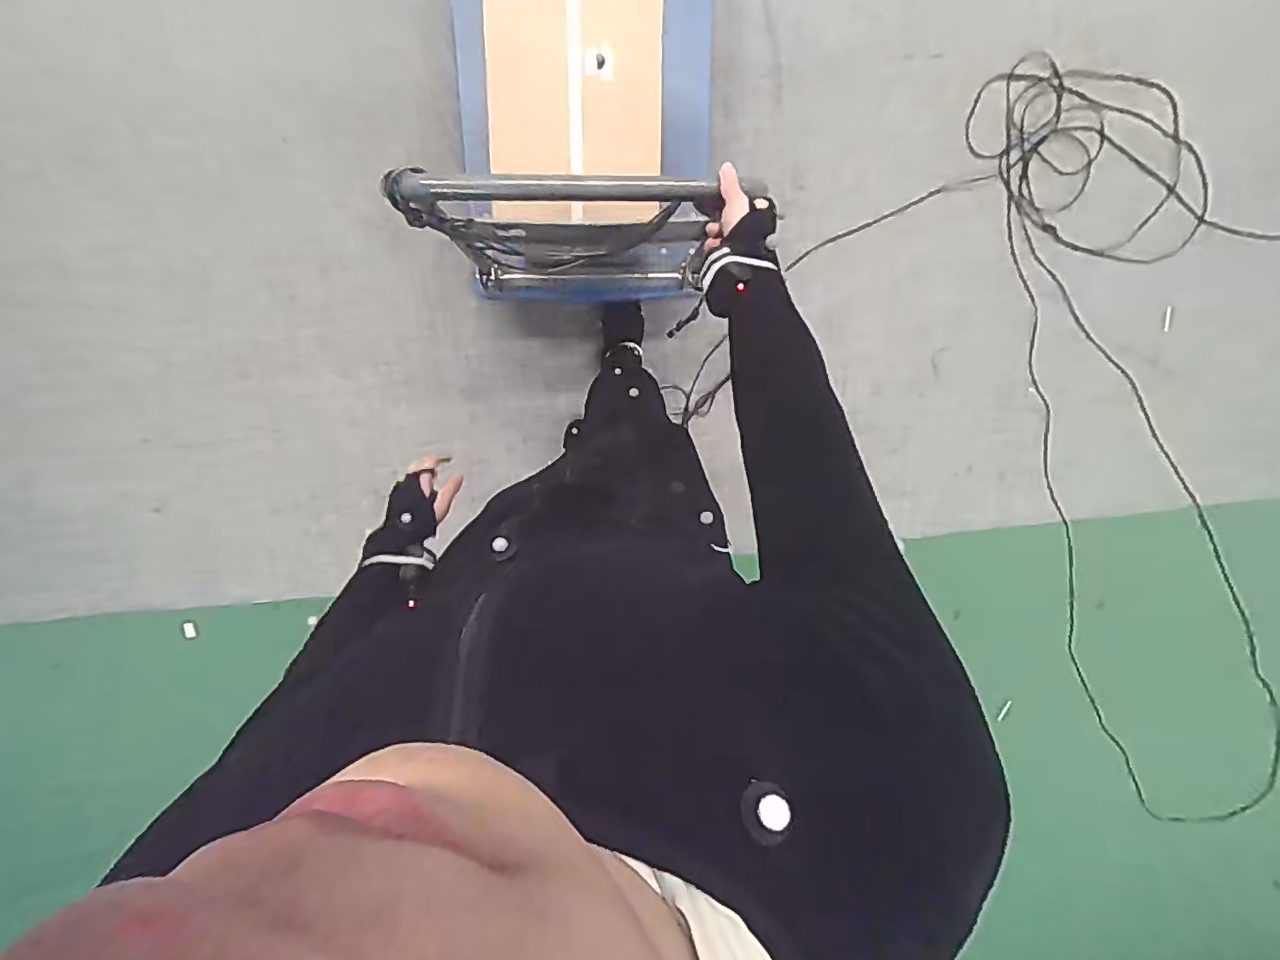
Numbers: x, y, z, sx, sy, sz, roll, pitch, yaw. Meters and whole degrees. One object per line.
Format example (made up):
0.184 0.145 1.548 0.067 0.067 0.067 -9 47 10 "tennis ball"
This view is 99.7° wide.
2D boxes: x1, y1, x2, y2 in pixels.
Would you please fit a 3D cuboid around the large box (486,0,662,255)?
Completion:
-0.121 -0.708 1.125 0.320 0.320 0.408 0 102 -4 "large box"
